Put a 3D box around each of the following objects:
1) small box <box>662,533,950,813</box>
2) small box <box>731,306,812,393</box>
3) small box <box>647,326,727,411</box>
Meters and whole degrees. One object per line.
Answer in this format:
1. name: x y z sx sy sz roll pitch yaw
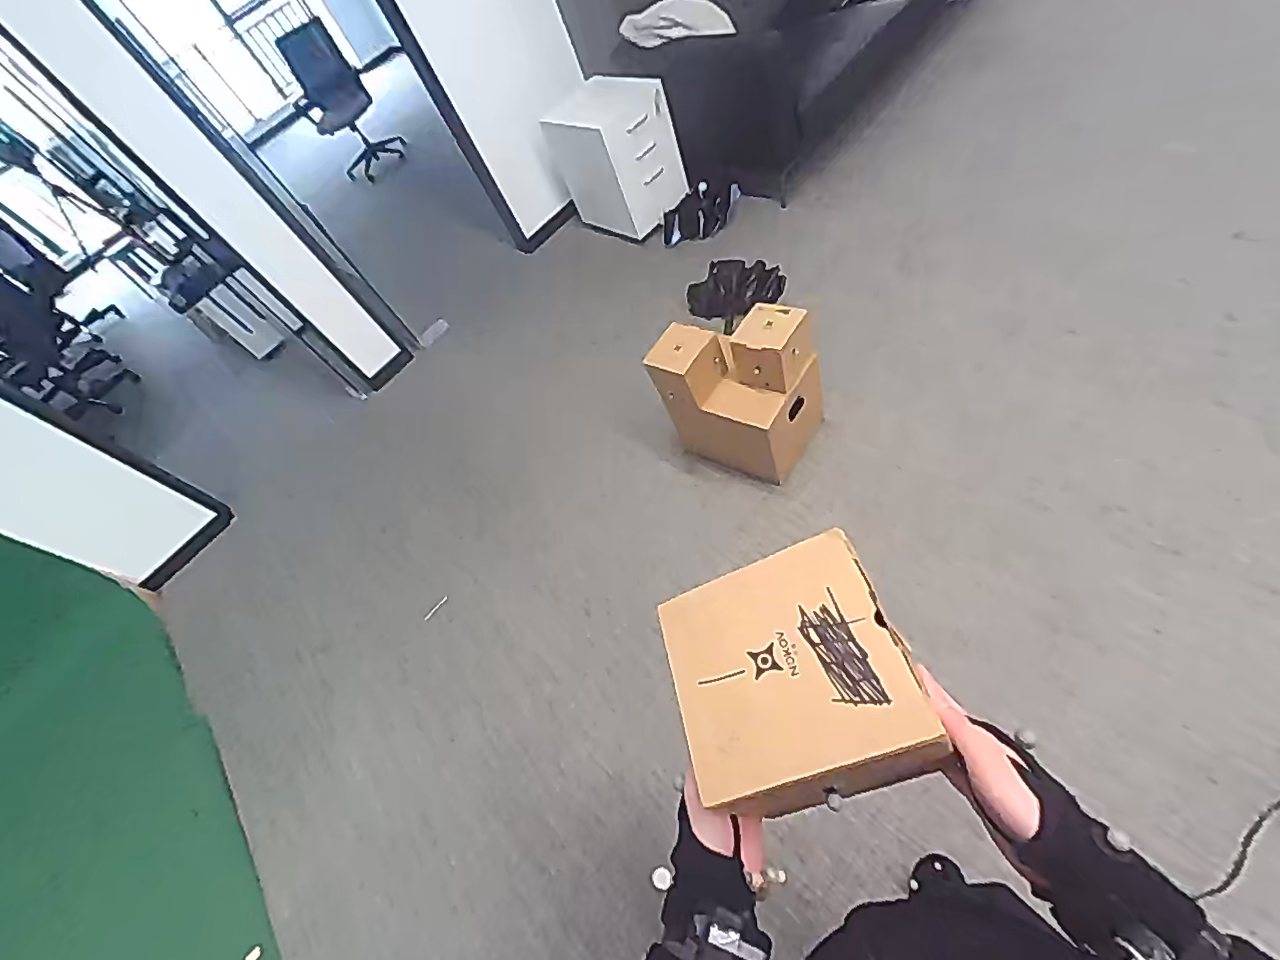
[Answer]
1. small box: 0.145 0.178 0.475 0.179 0.176 0.168 -27 49 16
2. small box: 0.397 -0.385 1.603 0.168 0.176 0.179 21 67 34
3. small box: 0.155 -0.348 1.687 0.168 0.176 0.179 24 73 36
